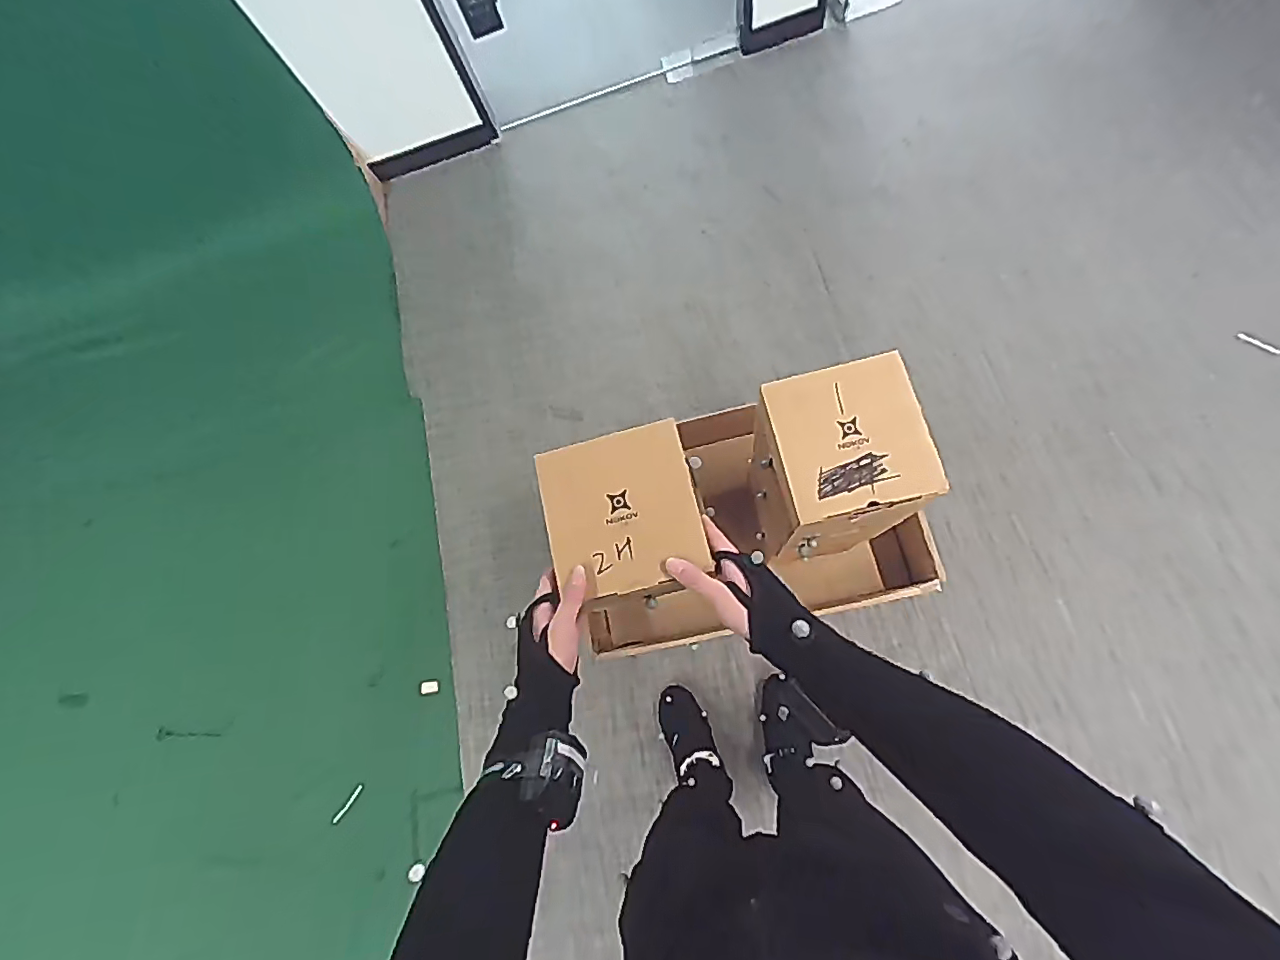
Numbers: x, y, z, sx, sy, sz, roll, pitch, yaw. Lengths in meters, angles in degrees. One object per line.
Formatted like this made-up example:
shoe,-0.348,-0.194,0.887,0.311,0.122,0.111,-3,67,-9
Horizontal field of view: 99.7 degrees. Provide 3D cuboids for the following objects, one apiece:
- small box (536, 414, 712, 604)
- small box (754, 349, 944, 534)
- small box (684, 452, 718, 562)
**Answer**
small box,-0.012,0.046,0.660,0.168,0.176,0.179,-15,74,5
small box,0.247,-0.034,0.686,0.168,0.176,0.179,-13,73,6
small box,0.019,0.072,0.870,0.179,0.176,0.168,-16,74,4
